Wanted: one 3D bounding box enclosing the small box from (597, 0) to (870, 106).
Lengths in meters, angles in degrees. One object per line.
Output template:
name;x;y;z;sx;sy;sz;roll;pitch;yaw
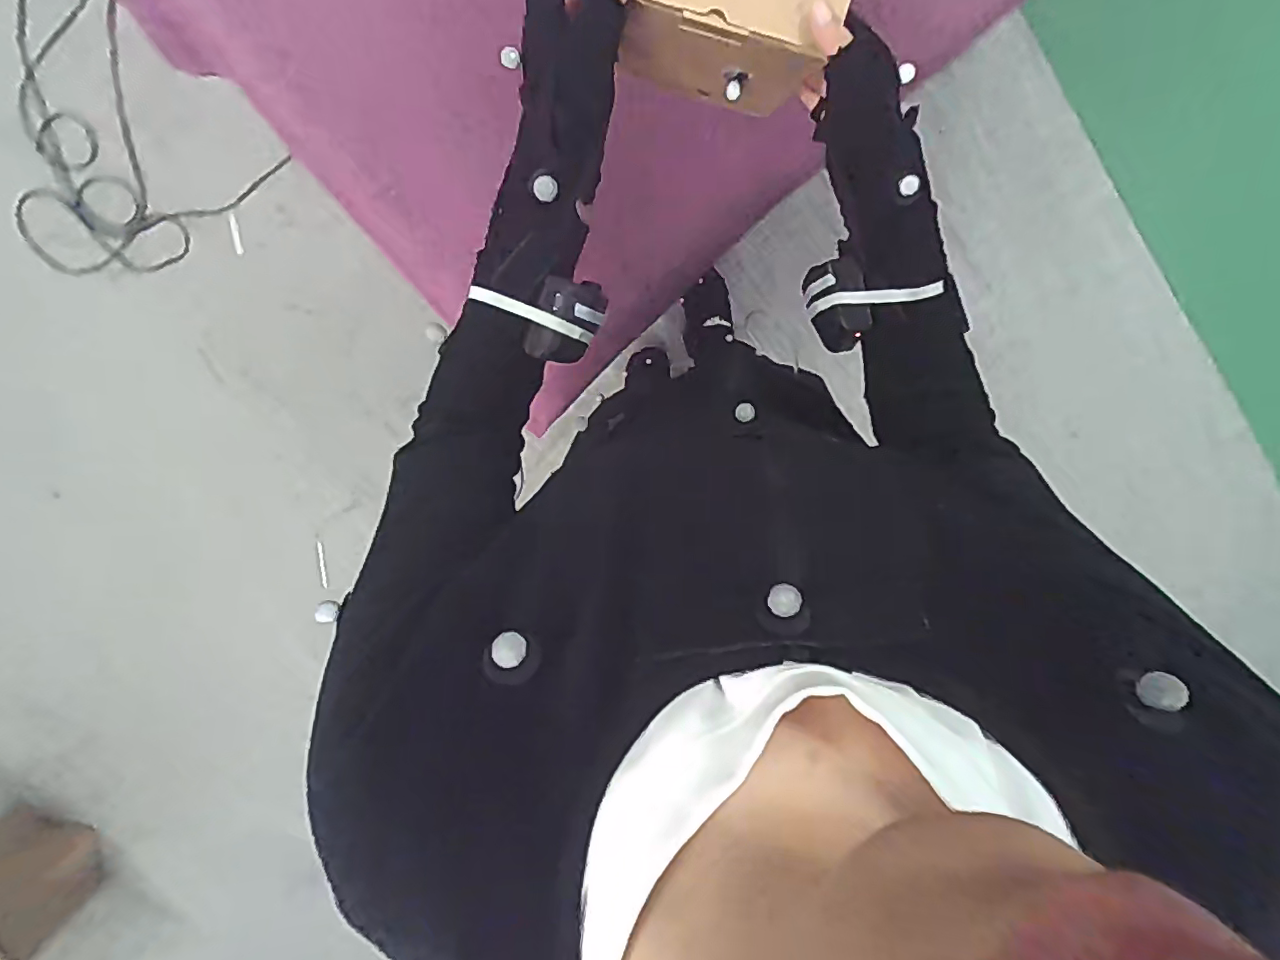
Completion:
small box;0.067;-0.386;0.365;0.168;0.176;0.179;10;112;-10
